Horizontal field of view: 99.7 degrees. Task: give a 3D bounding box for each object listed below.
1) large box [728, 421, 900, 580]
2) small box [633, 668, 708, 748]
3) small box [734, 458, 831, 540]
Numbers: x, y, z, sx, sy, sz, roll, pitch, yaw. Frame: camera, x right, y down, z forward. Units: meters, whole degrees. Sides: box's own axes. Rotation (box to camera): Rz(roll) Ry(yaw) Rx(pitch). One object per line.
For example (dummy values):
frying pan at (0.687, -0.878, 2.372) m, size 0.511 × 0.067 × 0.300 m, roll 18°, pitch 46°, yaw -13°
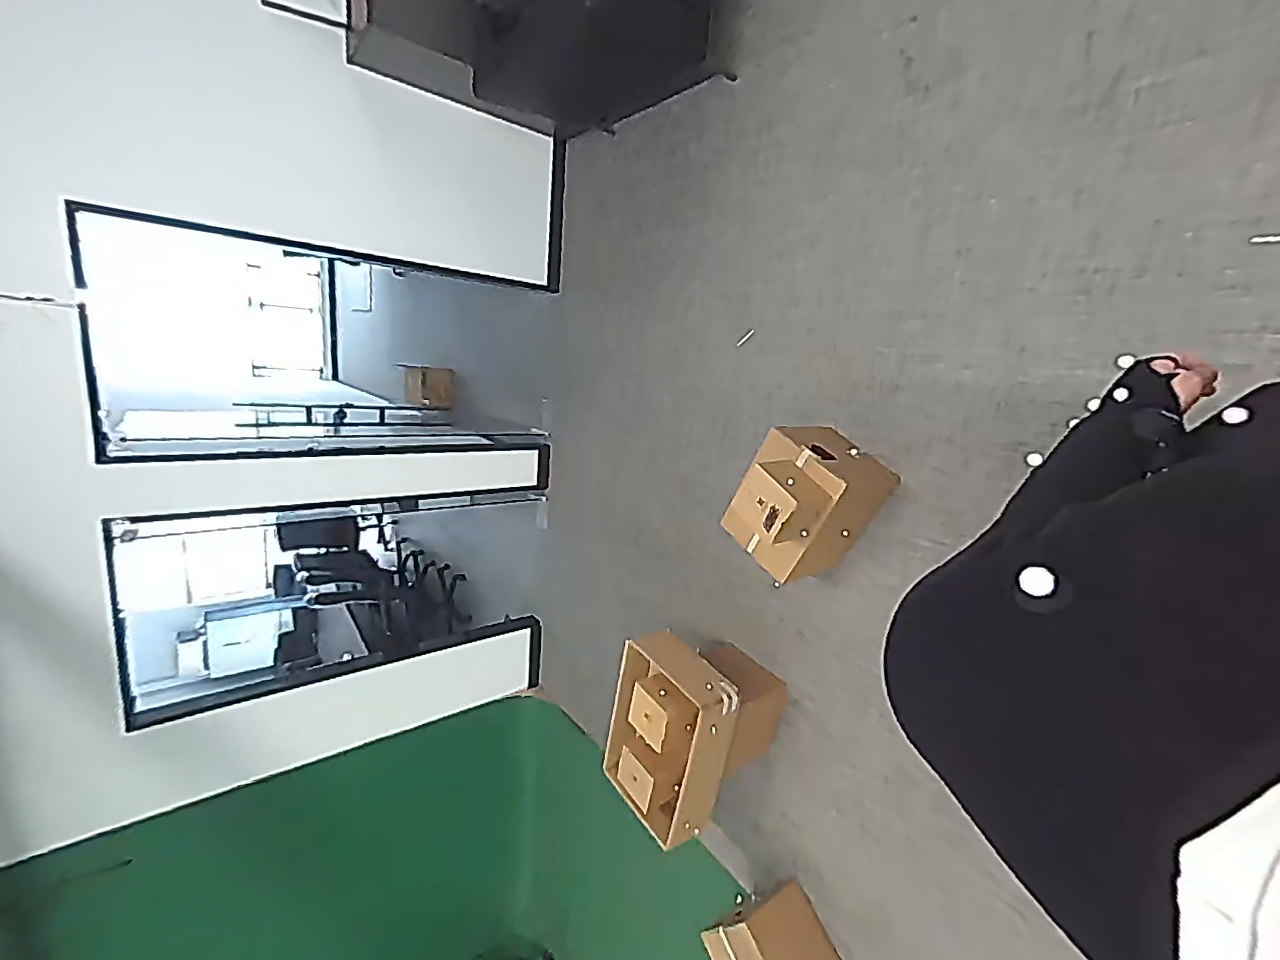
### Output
large box at (0.561, 0.053, 1.780) m, size 0.320 × 0.320 × 0.408 m, roll 48°, pitch 130°, yaw 38°
small box at (0.105, 0.777, 1.871) m, size 0.179 × 0.176 × 0.168 m, roll 29°, pitch 116°, yaw 44°
small box at (0.416, 0.047, 1.565) m, size 0.179 × 0.176 × 0.168 m, roll 50°, pitch 130°, yaw 34°
